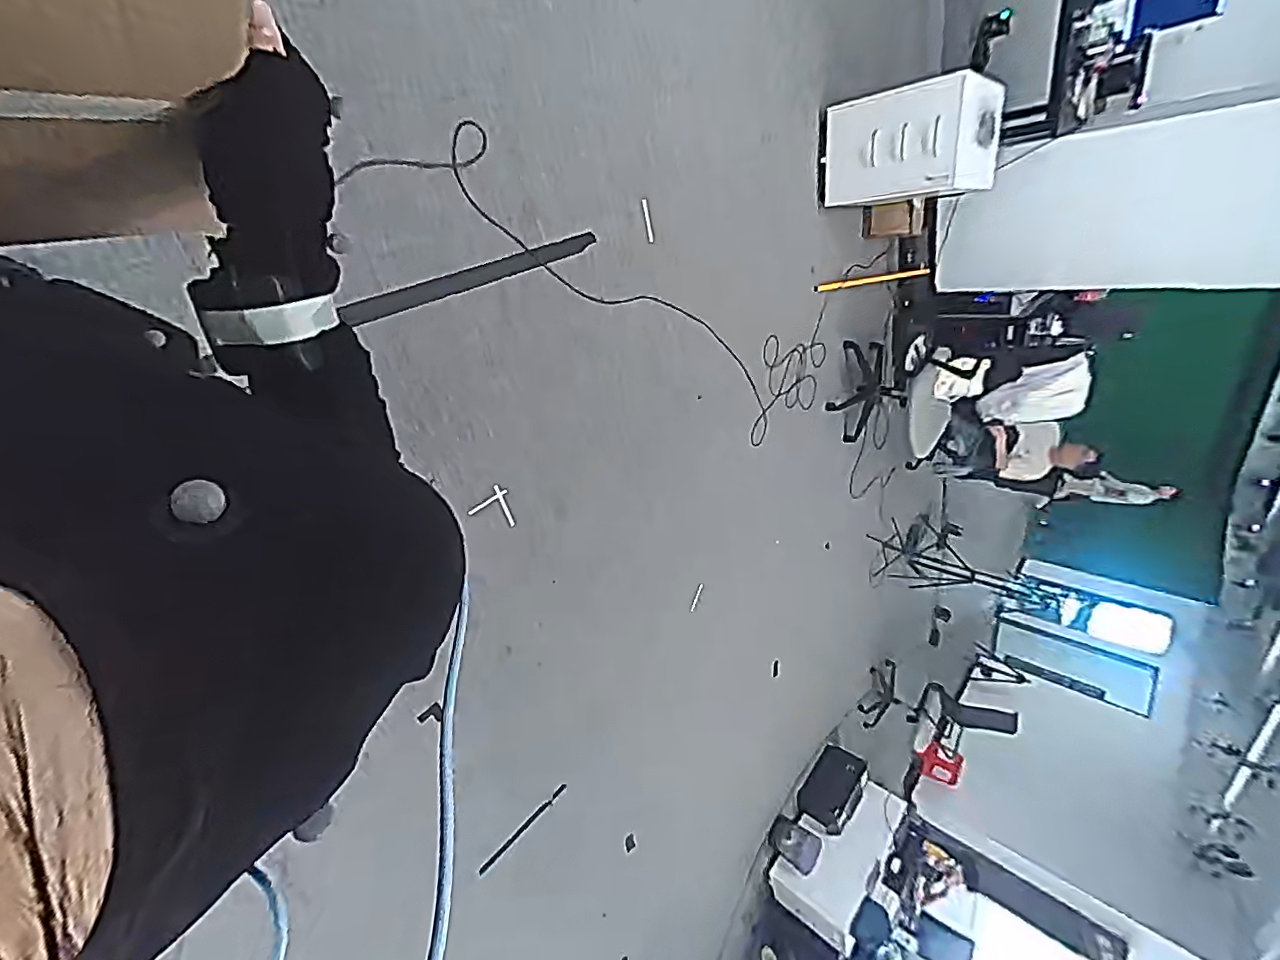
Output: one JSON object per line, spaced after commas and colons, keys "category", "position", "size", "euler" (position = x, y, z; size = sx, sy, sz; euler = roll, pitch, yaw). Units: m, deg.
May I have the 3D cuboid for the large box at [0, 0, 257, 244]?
{"category": "large box", "position": [-0.413, -0.274, 0.157], "size": [0.408, 0.320, 0.320], "euler": [-28, 104, -38]}
